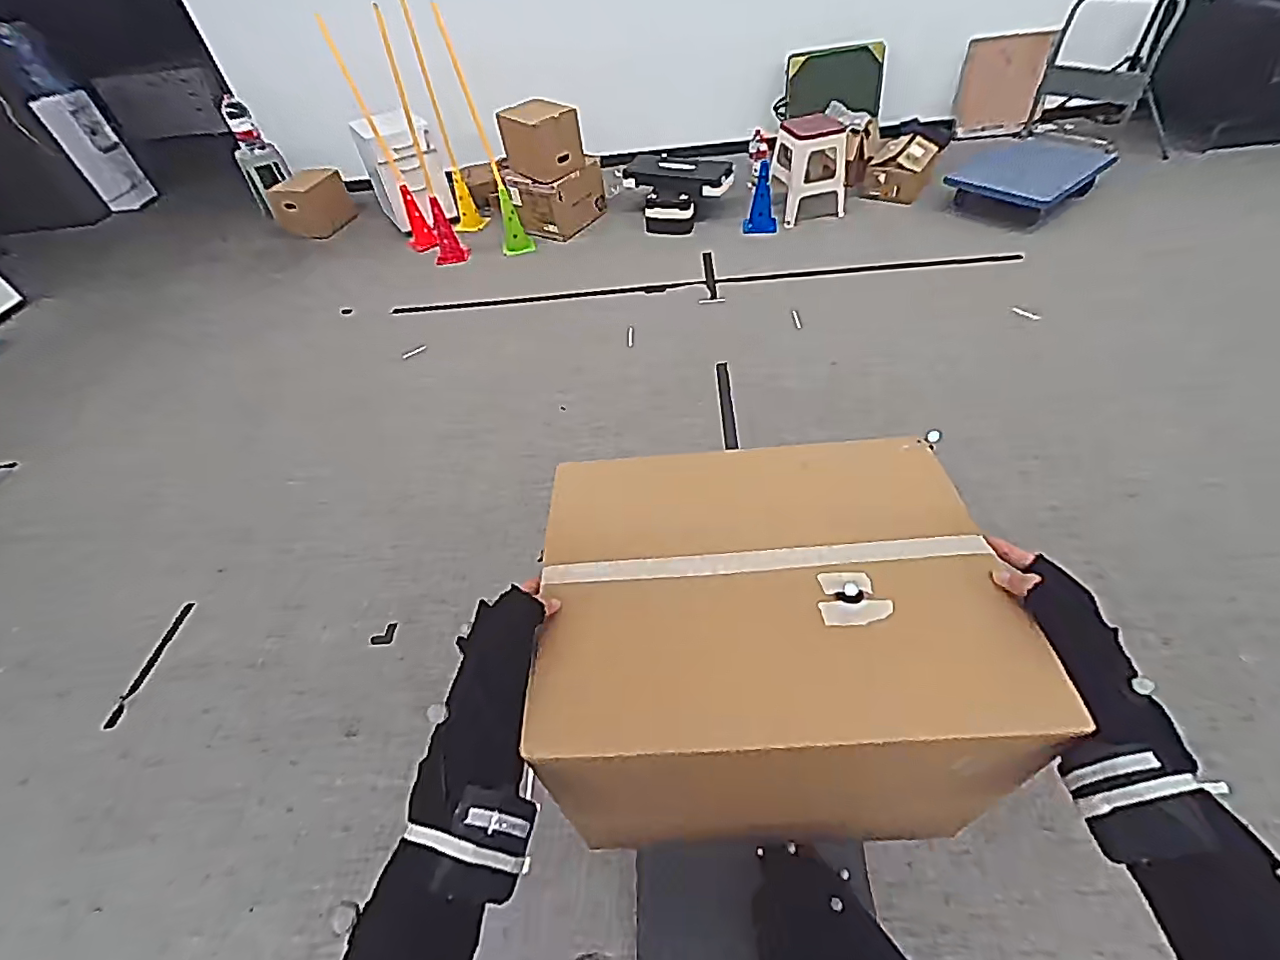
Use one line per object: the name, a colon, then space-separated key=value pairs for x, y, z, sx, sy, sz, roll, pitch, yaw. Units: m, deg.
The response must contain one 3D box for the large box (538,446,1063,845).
large box: x=0.125 y=0.190 z=0.614 sx=0.408 sy=0.320 sz=0.320 roll=-4 pitch=45 yaw=3
